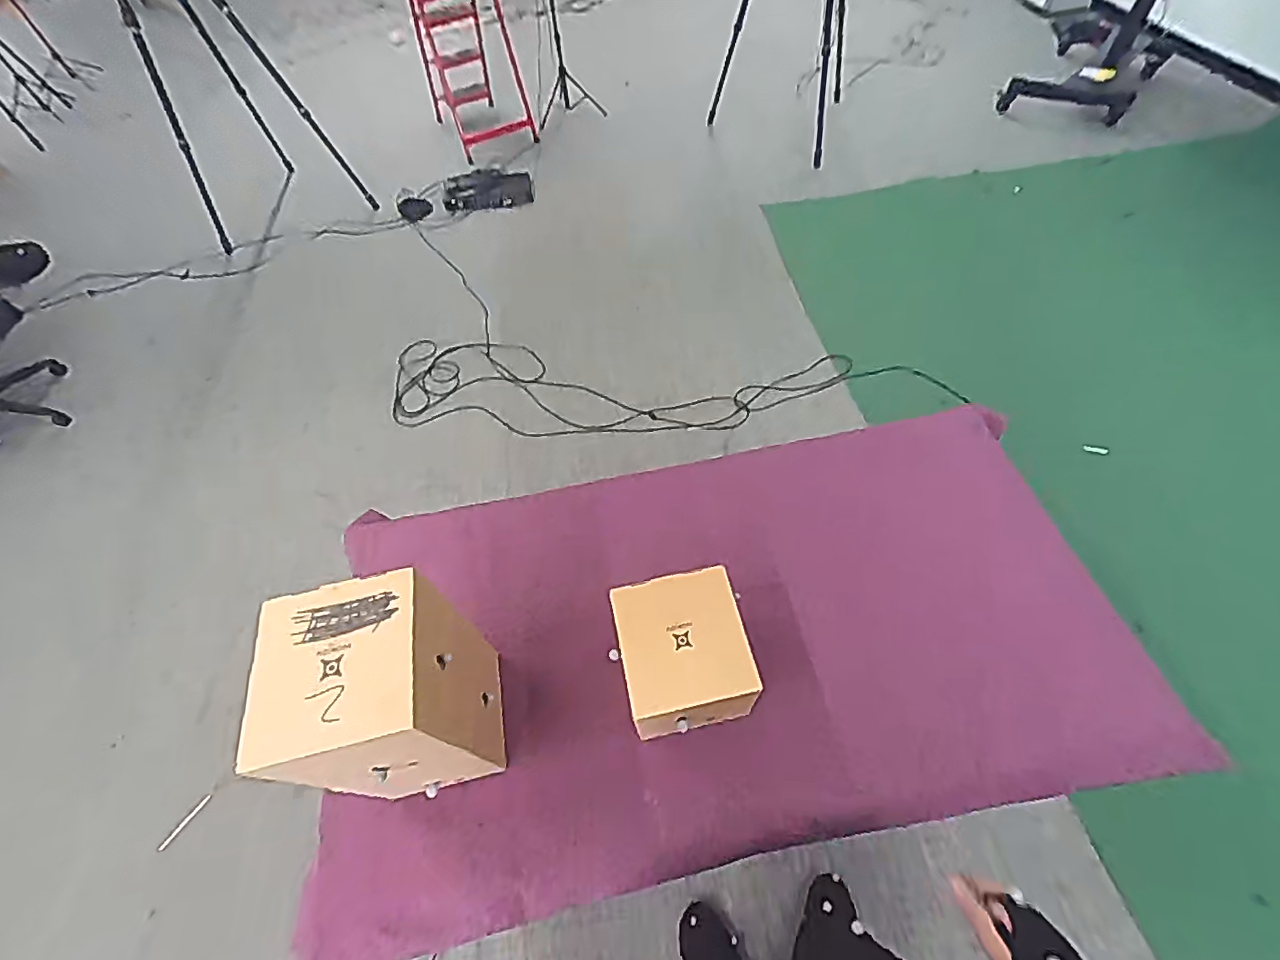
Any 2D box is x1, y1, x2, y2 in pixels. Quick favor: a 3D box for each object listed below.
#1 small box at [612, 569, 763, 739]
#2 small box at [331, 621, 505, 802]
[{"bbox_3d":[0.063,0.255,0.768,0.168,0.176,0.179,-12,55,-4],"label":"small box"},{"bbox_3d":[-0.290,0.320,0.742,0.168,0.176,0.179,-12,56,-5],"label":"small box"}]
